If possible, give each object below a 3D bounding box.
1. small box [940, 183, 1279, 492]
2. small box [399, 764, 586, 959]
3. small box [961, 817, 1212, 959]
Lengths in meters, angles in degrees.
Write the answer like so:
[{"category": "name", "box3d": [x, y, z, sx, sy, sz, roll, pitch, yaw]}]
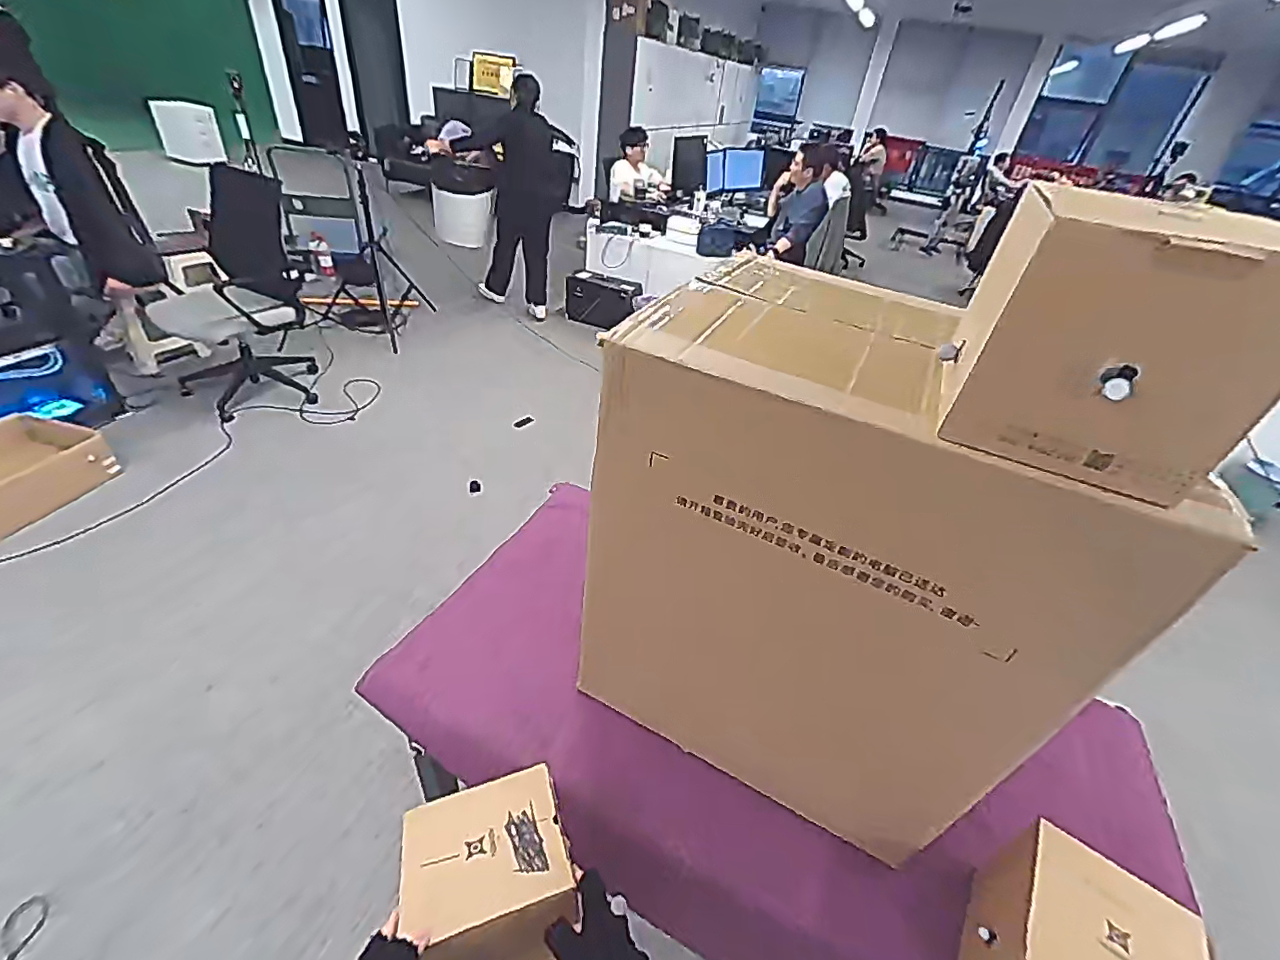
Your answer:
[{"category": "small box", "box3d": [0.357, -0.117, 0.424, 0.168, 0.176, 0.179, 20, 40, 17]}, {"category": "small box", "box3d": [-0.165, 0.480, 0.628, 0.179, 0.176, 0.168, -11, 21, -17]}, {"category": "small box", "box3d": [0.493, 0.545, 0.613, 0.168, 0.176, 0.179, 29, 40, 25]}]
